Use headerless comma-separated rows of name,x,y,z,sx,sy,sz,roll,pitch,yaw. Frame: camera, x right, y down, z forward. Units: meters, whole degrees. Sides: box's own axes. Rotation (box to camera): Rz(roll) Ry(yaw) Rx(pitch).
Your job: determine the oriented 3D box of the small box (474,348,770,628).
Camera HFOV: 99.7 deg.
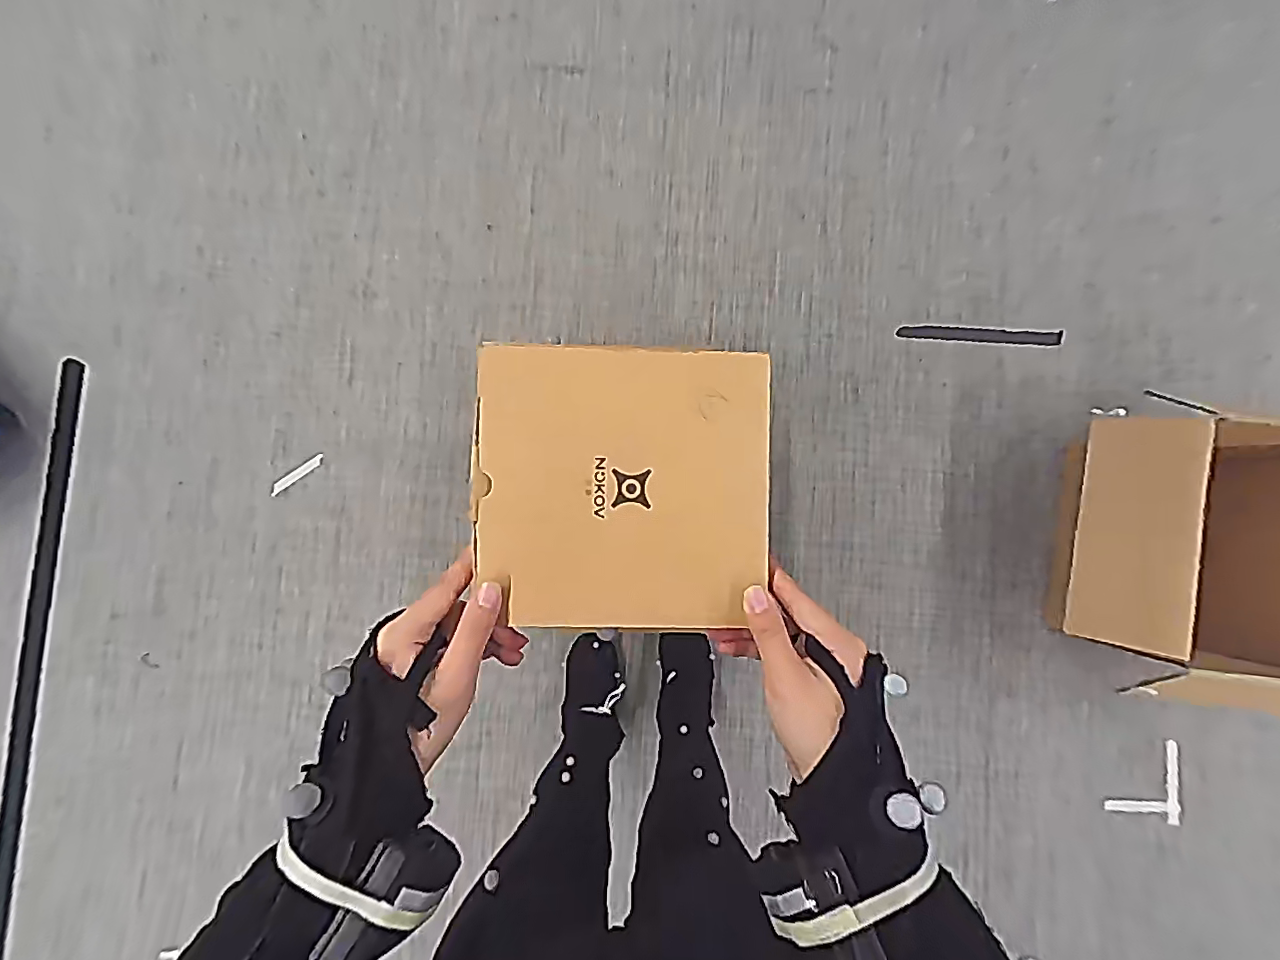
small box,-0.013,0.006,0.401,0.179,0.176,0.168,1,89,-2
